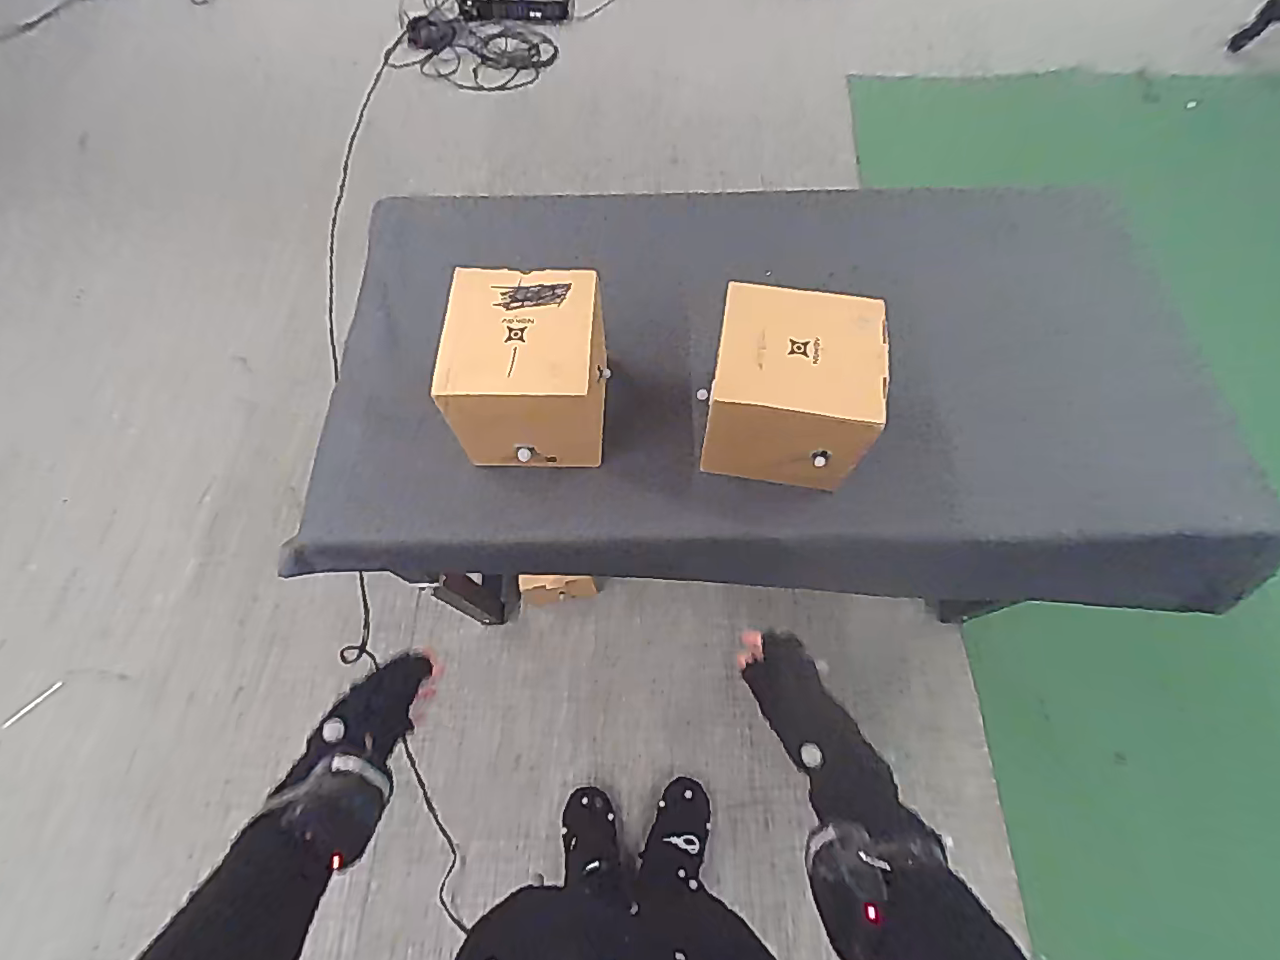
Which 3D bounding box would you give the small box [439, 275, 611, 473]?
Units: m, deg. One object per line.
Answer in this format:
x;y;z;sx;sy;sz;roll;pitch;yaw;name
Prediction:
-0.125;-0.125;0.668;0.168;0.176;0.179;1;66;2;small box

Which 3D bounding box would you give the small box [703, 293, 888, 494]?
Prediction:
0.178;-0.095;0.652;0.179;0.176;0.168;9;65;6;small box

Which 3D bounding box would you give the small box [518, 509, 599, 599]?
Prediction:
-0.196;0.189;1.330;0.168;0.176;0.179;-8;67;-3;small box
